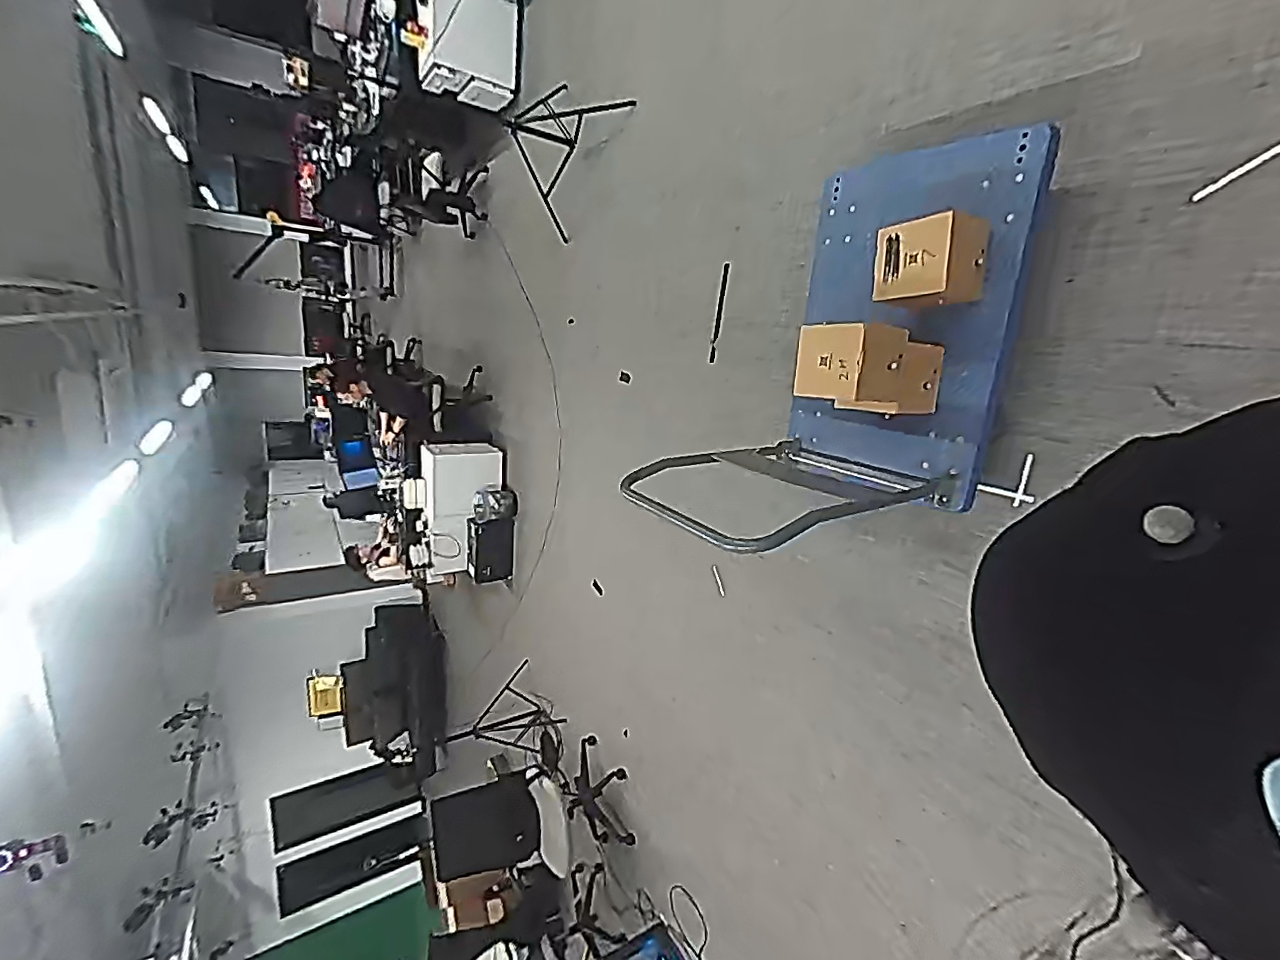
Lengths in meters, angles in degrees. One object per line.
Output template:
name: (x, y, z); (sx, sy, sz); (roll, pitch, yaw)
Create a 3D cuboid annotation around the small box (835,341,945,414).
small box: (0.624, -0.256, 1.354); (0.179, 0.176, 0.168); (19, 109, 54)

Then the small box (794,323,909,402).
small box: (0.489, -0.271, 1.258); (0.179, 0.176, 0.168); (20, 110, 54)
